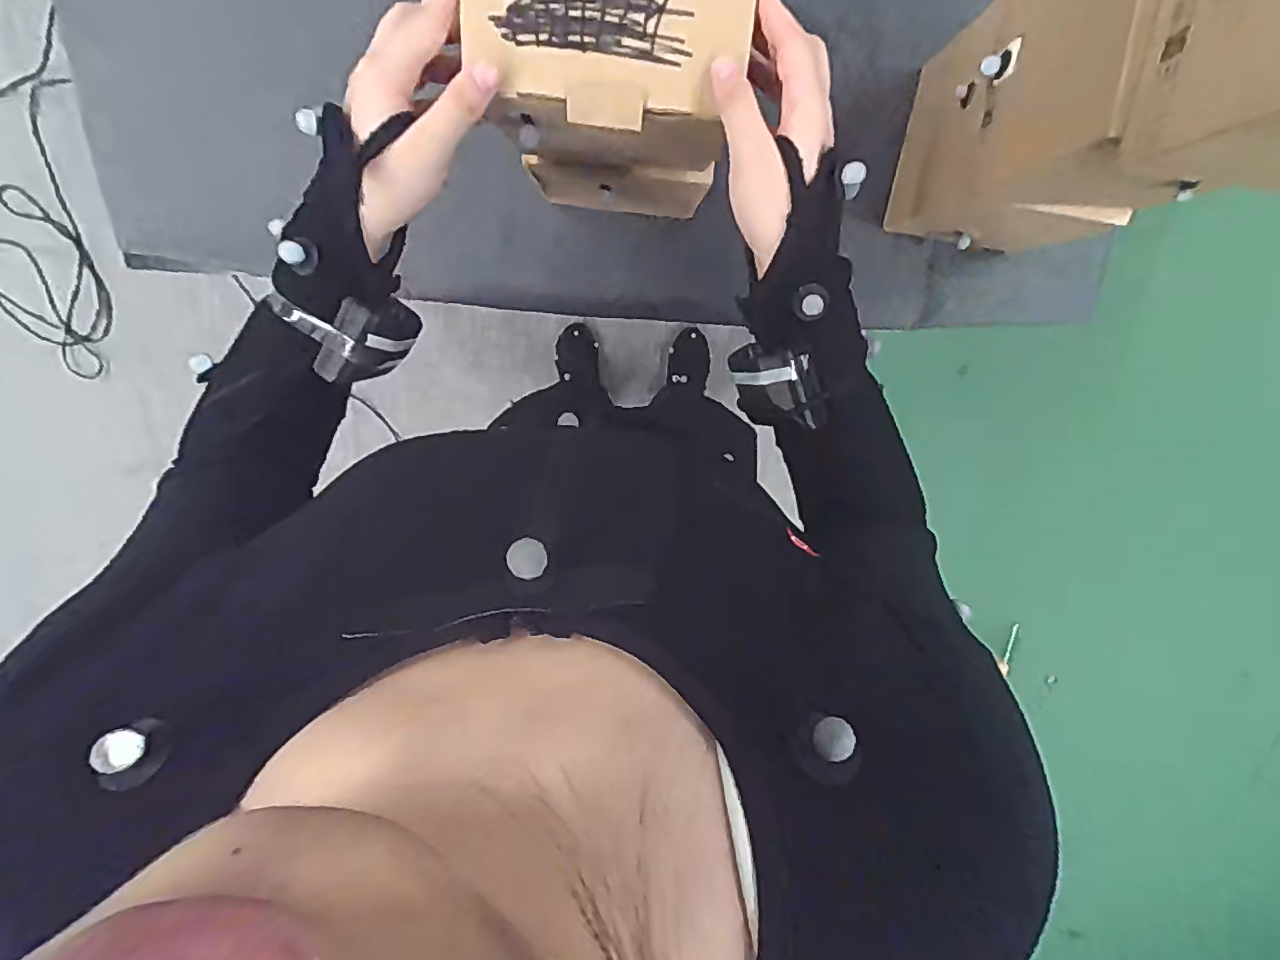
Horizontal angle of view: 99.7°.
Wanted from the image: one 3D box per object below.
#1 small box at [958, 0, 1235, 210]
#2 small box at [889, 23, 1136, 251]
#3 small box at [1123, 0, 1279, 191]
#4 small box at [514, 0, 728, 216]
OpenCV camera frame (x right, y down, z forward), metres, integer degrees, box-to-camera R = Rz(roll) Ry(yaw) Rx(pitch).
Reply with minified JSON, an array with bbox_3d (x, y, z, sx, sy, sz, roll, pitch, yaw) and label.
[{"bbox_3d":[0.378,-0.309,0.398,0.179,0.176,0.168,1,104,0],"label":"small box"},{"bbox_3d":[0.385,-0.351,0.555,0.168,0.176,0.179,8,105,-3],"label":"small box"},{"bbox_3d":[0.393,-0.245,0.245,0.179,0.176,0.168,6,103,-3],"label":"small box"},{"bbox_3d":[-0.018,-0.374,0.541,0.179,0.176,0.168,5,106,-2],"label":"small box"}]
